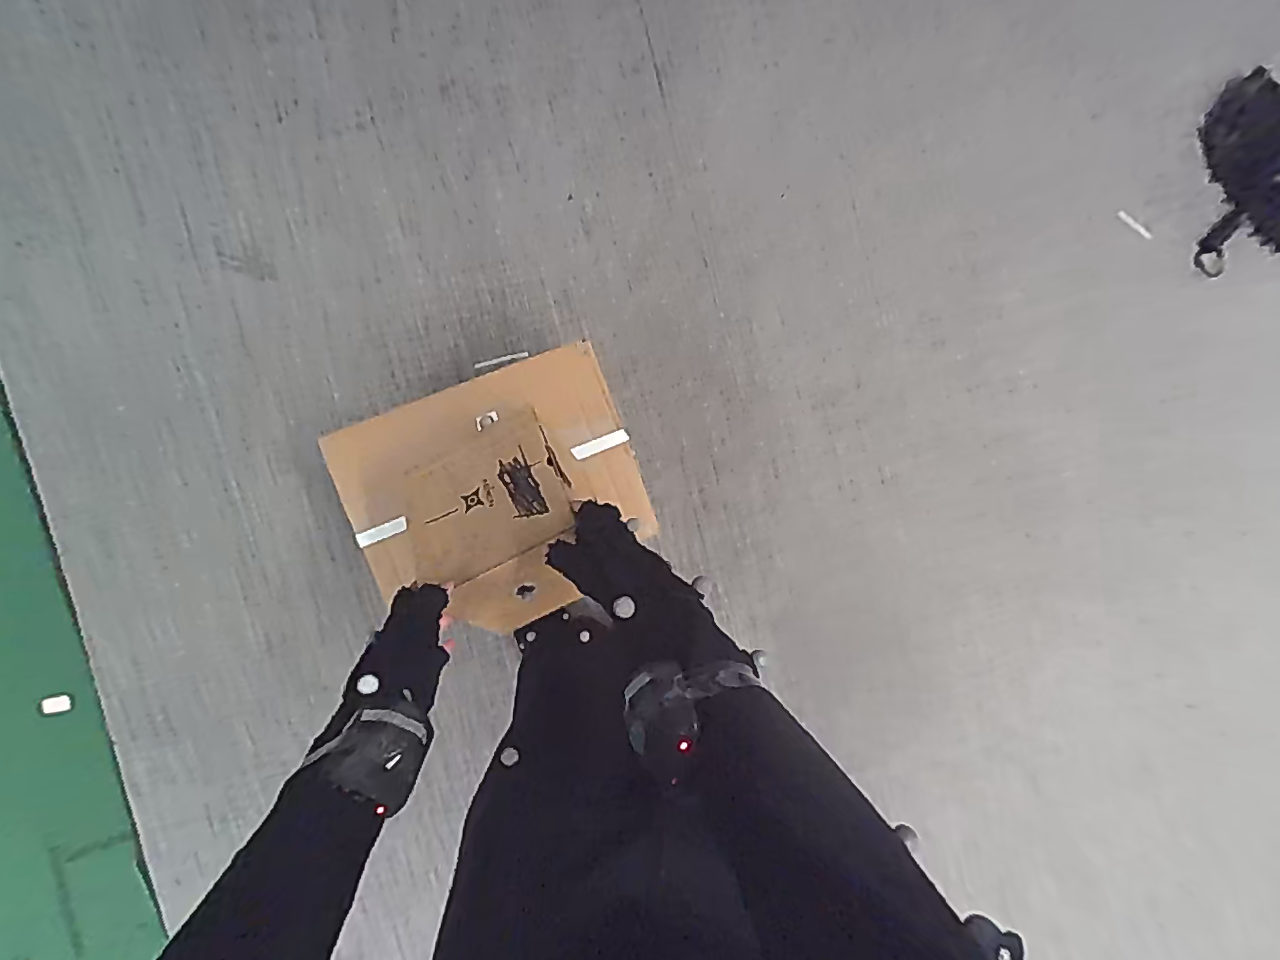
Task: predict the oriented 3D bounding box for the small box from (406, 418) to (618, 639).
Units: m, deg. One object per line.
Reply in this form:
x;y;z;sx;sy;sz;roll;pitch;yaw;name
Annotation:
-0.140;0.065;0.638;0.179;0.176;0.168;-28;57;4;small box
